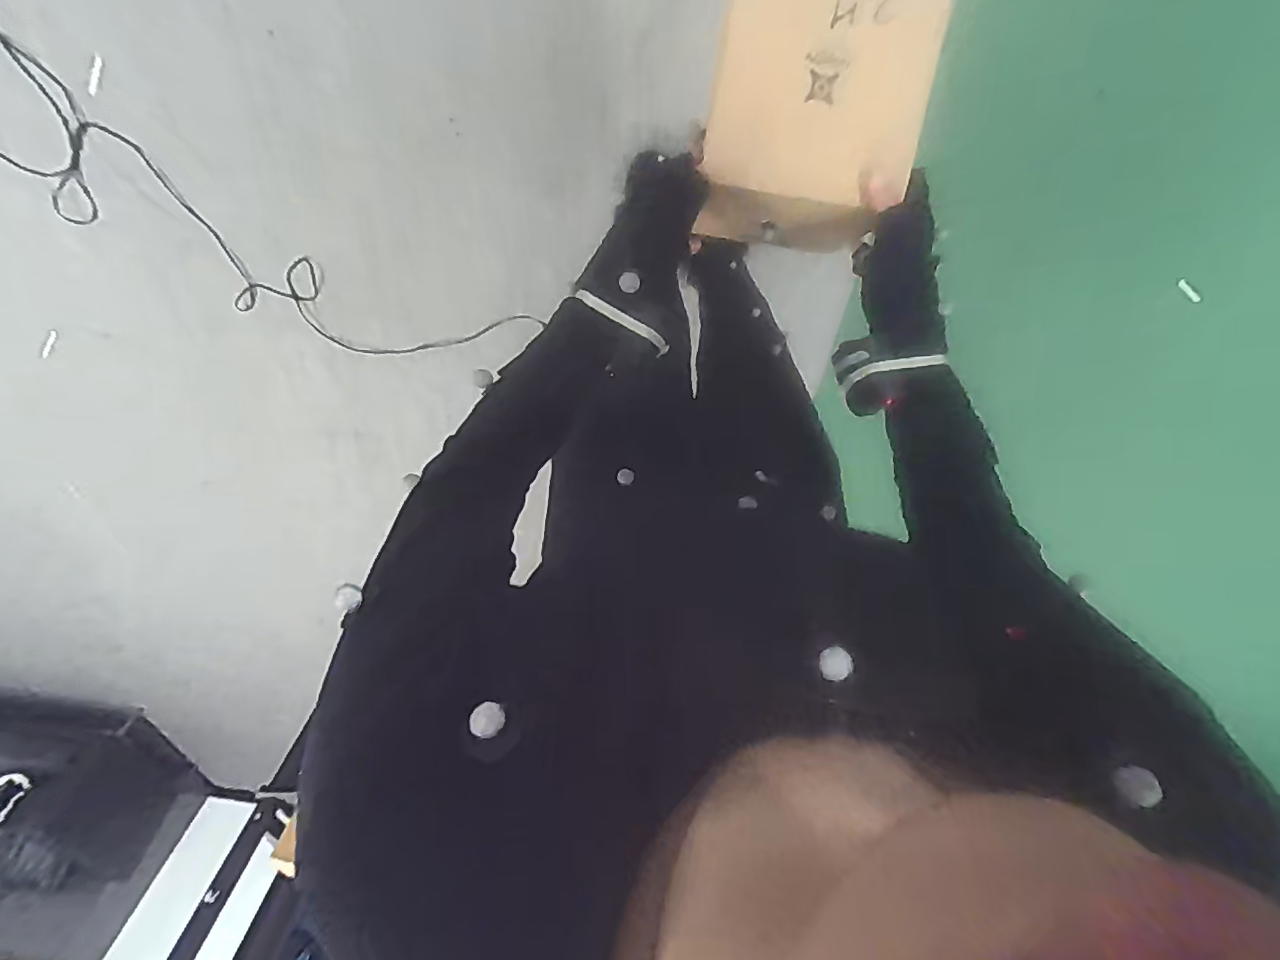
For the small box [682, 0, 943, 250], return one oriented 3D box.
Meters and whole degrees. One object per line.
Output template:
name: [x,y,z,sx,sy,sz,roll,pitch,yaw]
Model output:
small box: [0.136,-0.327,0.494,0.168,0.176,0.179,9,101,-3]
